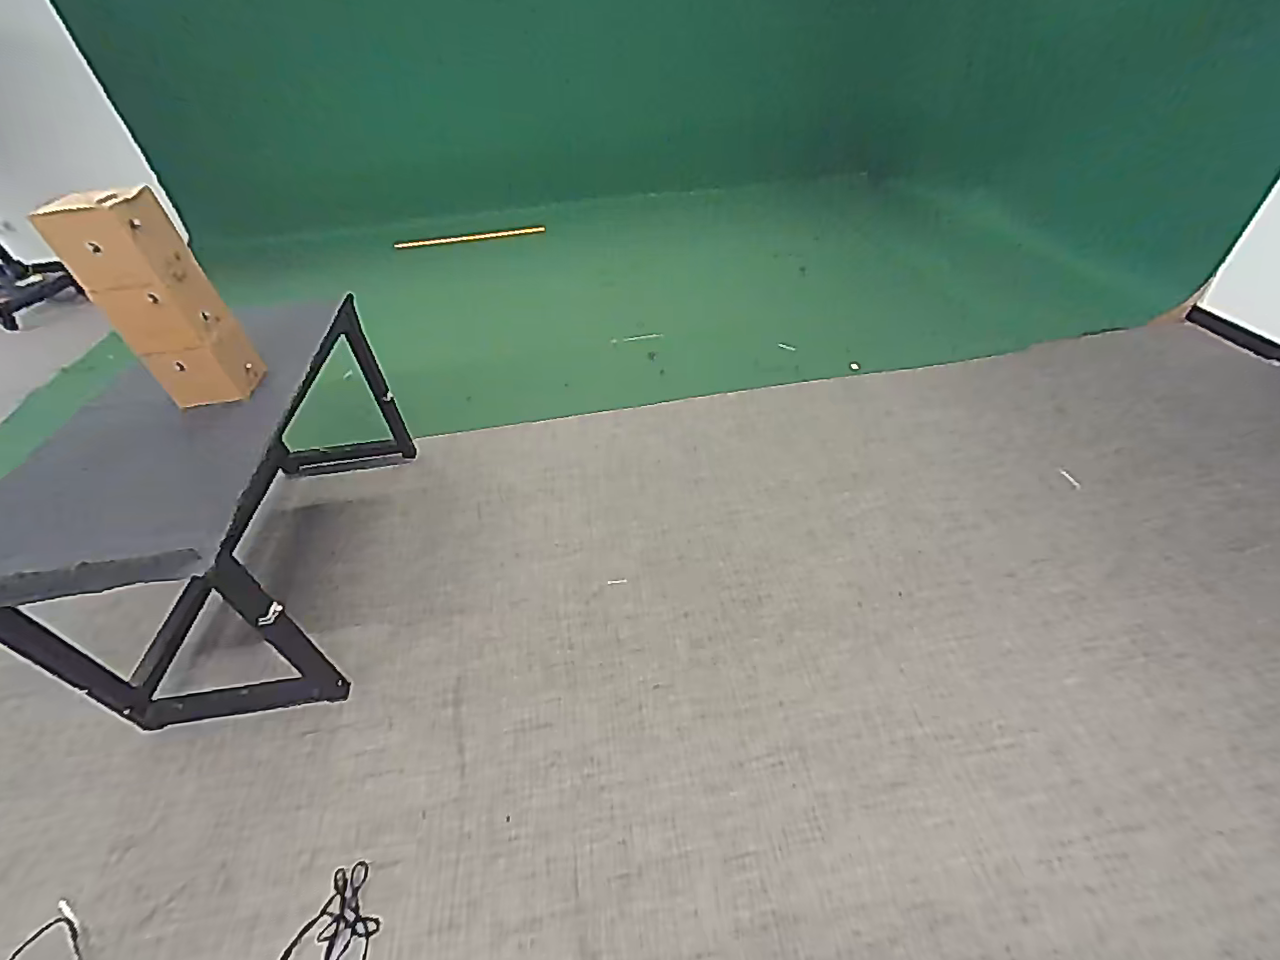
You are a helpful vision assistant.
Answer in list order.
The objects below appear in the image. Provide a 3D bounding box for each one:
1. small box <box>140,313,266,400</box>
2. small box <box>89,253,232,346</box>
[{"bbox_3d":[-1.174,-0.333,1.471,0.179,0.176,0.168,-8,44,-3],"label":"small box"},{"bbox_3d":[-1.190,-0.450,1.360,0.179,0.176,0.168,-8,43,-3],"label":"small box"}]
